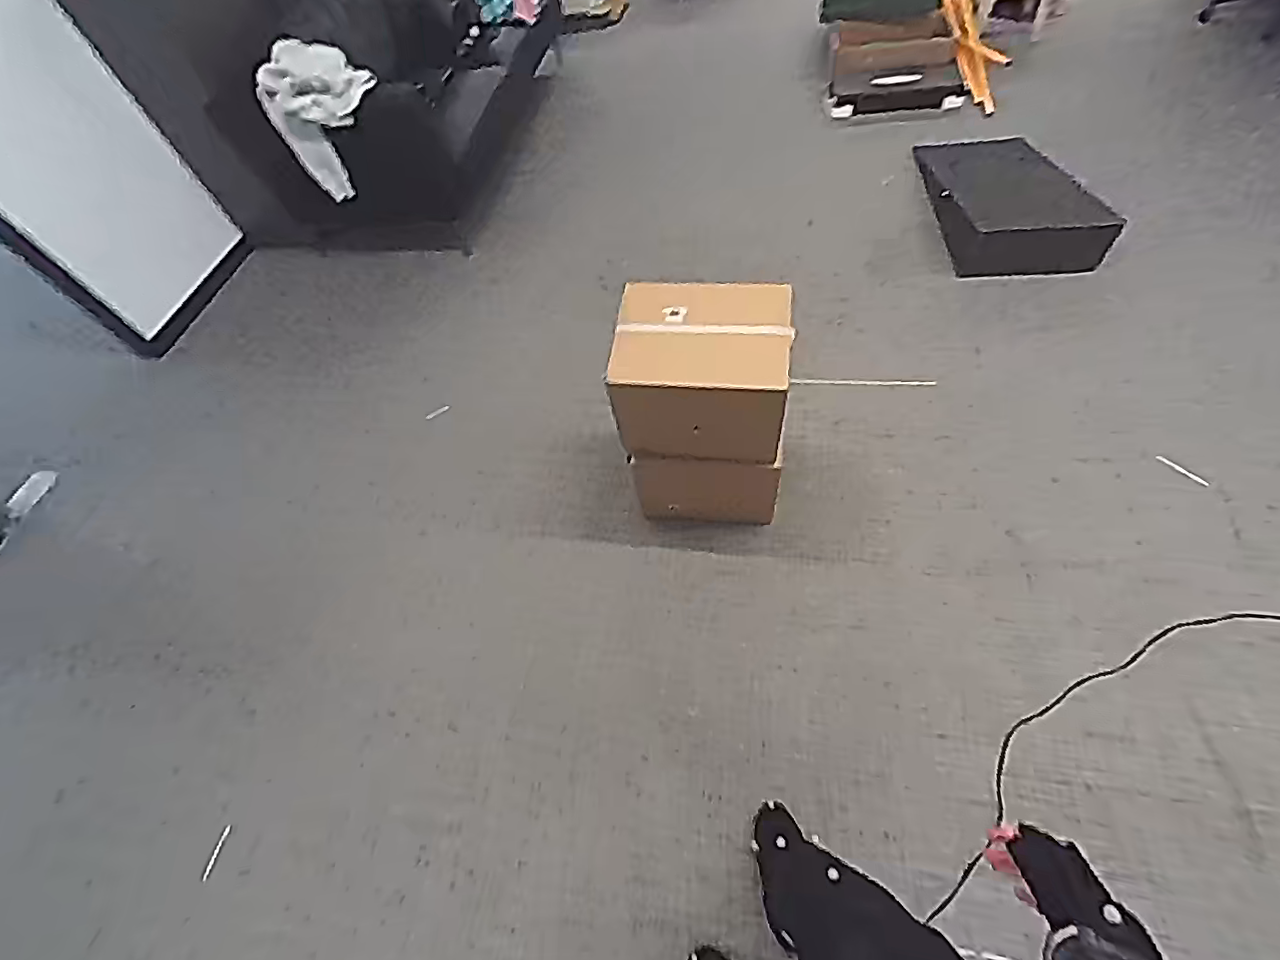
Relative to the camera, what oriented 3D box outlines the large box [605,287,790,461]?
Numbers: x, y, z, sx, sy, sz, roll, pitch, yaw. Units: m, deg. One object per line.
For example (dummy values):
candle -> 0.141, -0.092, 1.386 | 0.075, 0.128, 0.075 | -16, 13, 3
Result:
large box -> 0.161, -0.258, 1.364 | 0.408, 0.320, 0.320 | 4, 62, 12
